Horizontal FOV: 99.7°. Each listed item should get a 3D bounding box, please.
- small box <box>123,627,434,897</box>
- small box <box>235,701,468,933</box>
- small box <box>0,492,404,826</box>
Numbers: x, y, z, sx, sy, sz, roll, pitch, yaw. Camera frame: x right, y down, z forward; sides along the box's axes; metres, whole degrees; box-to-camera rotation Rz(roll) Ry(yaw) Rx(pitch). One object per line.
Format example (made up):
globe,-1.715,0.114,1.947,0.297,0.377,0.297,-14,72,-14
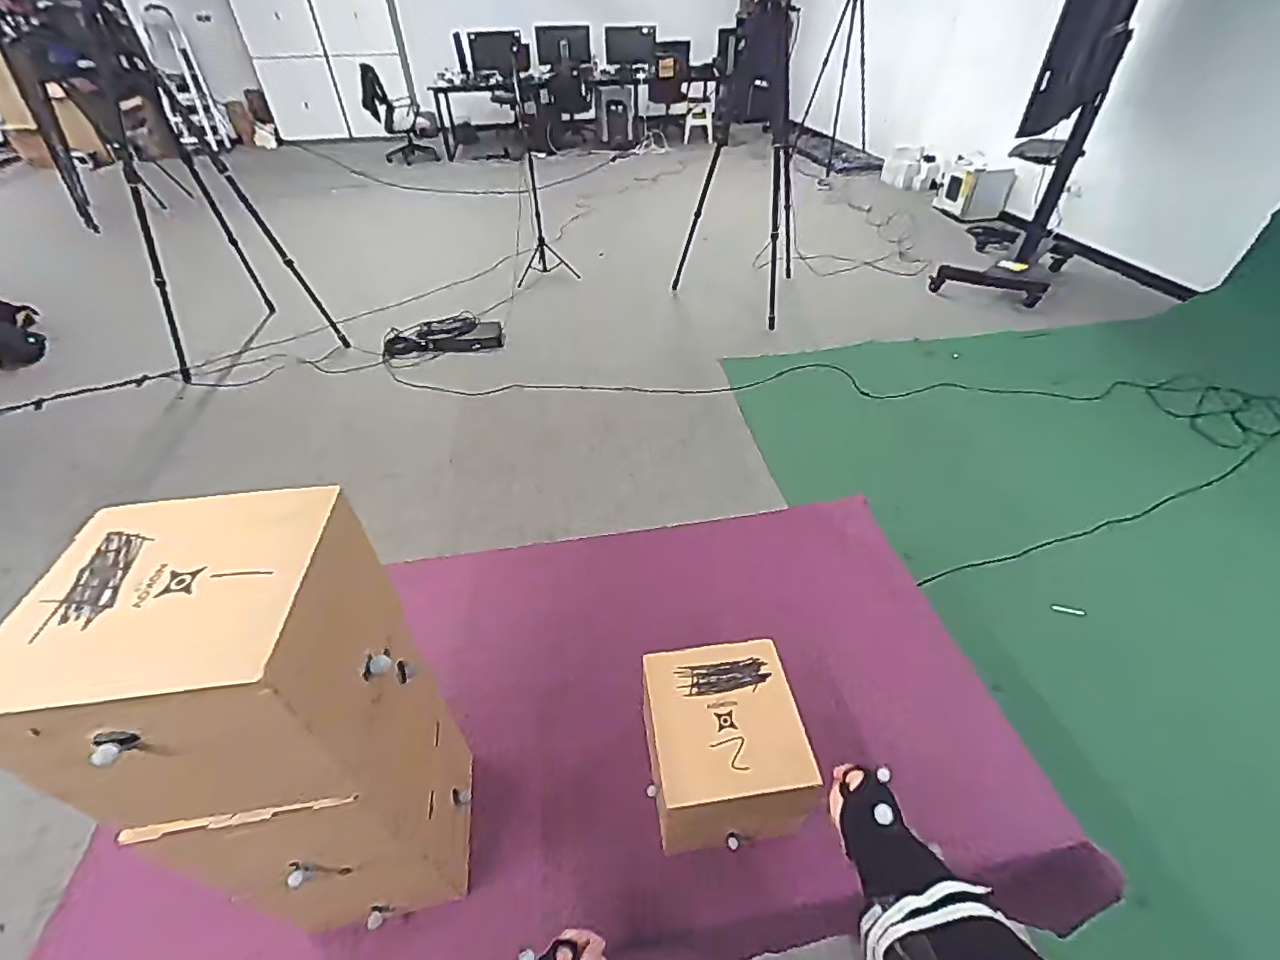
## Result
small box,-0.304,0.255,0.510,0.168,0.176,0.179,-7,43,-6
small box,-0.301,0.382,0.616,0.179,0.176,0.168,-8,42,-8
small box,-0.302,0.131,0.402,0.179,0.176,0.168,-6,42,-6
